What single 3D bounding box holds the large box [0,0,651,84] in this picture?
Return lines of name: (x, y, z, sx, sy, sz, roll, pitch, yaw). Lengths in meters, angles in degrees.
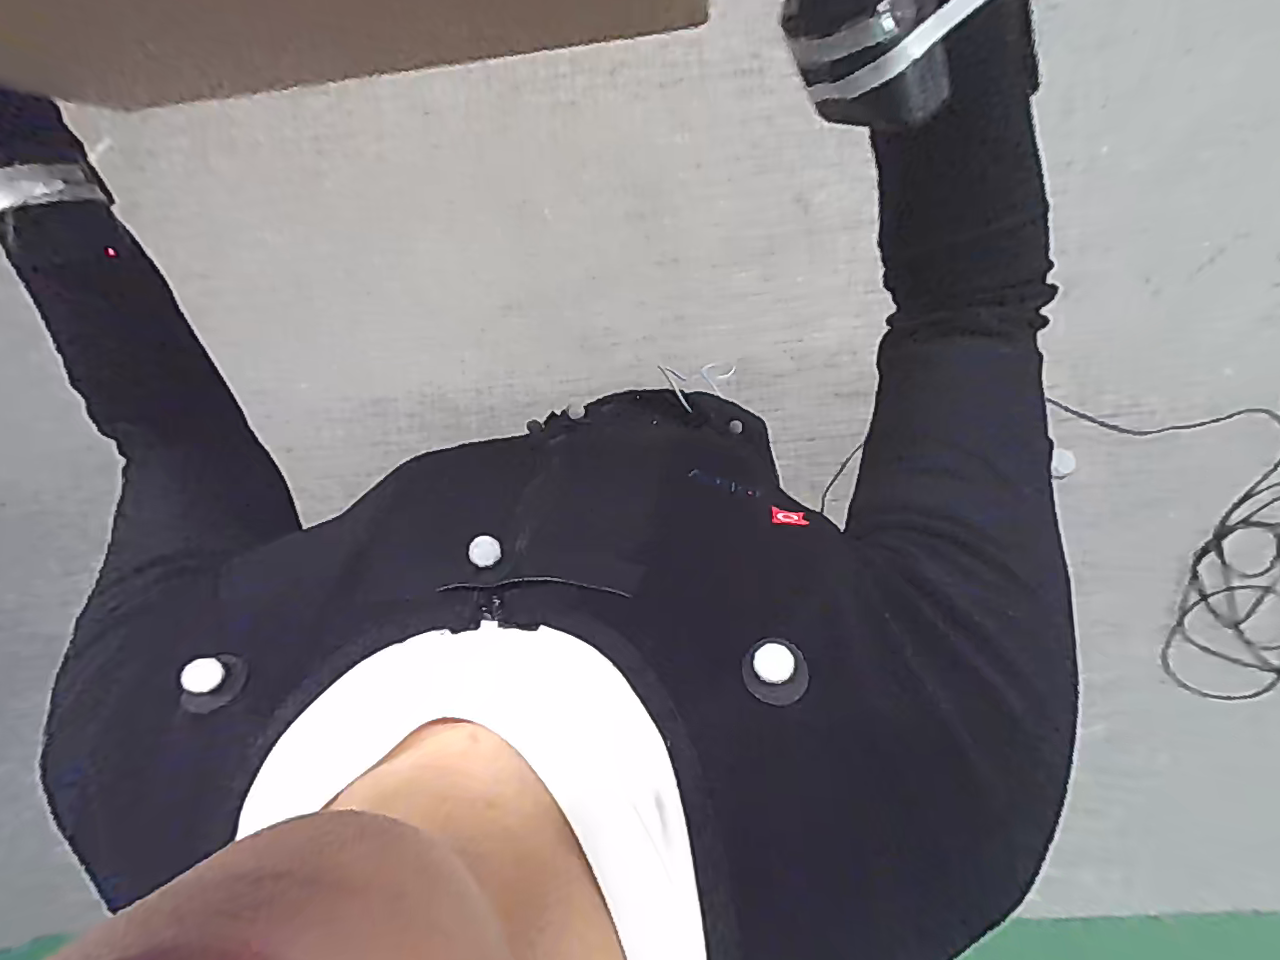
large box: (-0.186, -0.342, 0.131, 0.408, 0.320, 0.320, 3, 114, 12)
